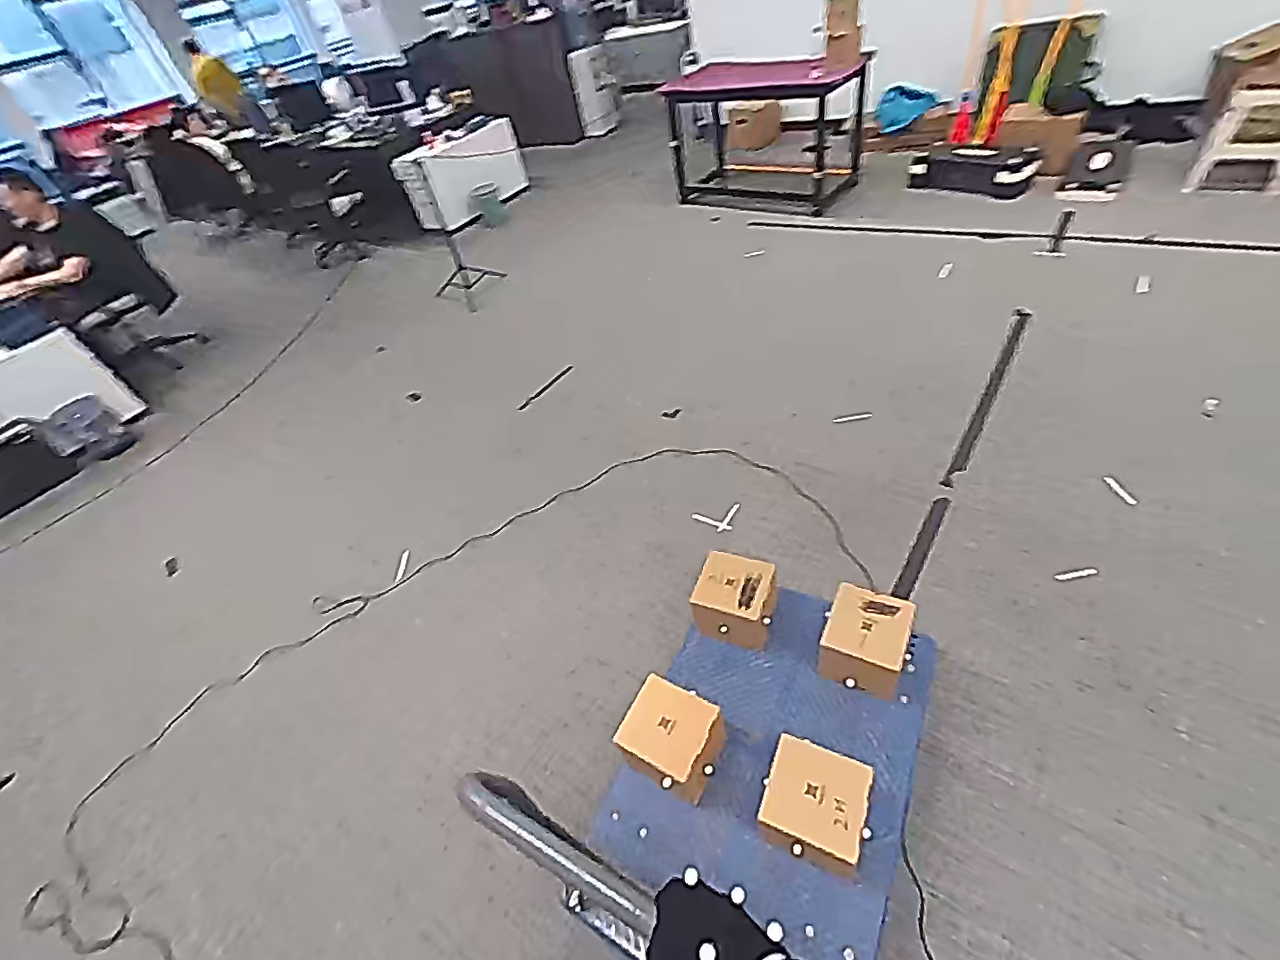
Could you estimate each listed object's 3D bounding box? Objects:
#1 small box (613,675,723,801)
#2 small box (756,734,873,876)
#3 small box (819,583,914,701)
[{"bbox_3d":[0.069,0.570,1.189,0.179,0.176,0.168,17,52,27],"label":"small box"},{"bbox_3d":[0.338,0.633,1.051,0.179,0.176,0.168,12,51,26],"label":"small box"},{"bbox_3d":[0.520,0.376,1.257,0.168,0.176,0.179,15,53,28],"label":"small box"}]
